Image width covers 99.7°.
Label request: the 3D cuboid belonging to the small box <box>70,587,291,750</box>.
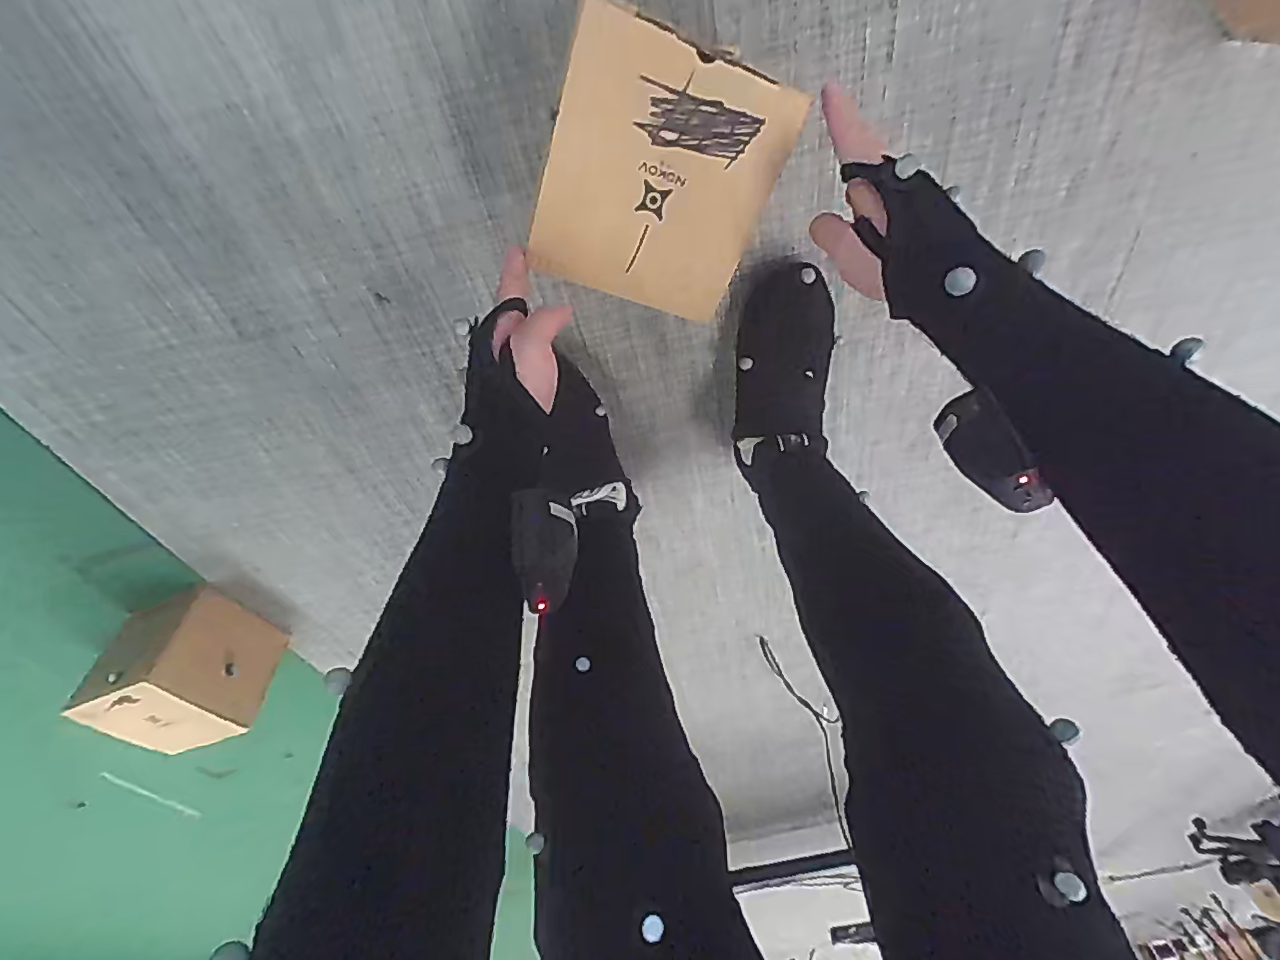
[{"bbox_3d":[-0.709,0.300,0.863,0.168,0.176,0.179,-20,131,11],"label":"small box"}]

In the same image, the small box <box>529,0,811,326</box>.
[{"bbox_3d":[0.008,-0.267,0.462,0.168,0.176,0.179,12,129,-17],"label":"small box"}]
